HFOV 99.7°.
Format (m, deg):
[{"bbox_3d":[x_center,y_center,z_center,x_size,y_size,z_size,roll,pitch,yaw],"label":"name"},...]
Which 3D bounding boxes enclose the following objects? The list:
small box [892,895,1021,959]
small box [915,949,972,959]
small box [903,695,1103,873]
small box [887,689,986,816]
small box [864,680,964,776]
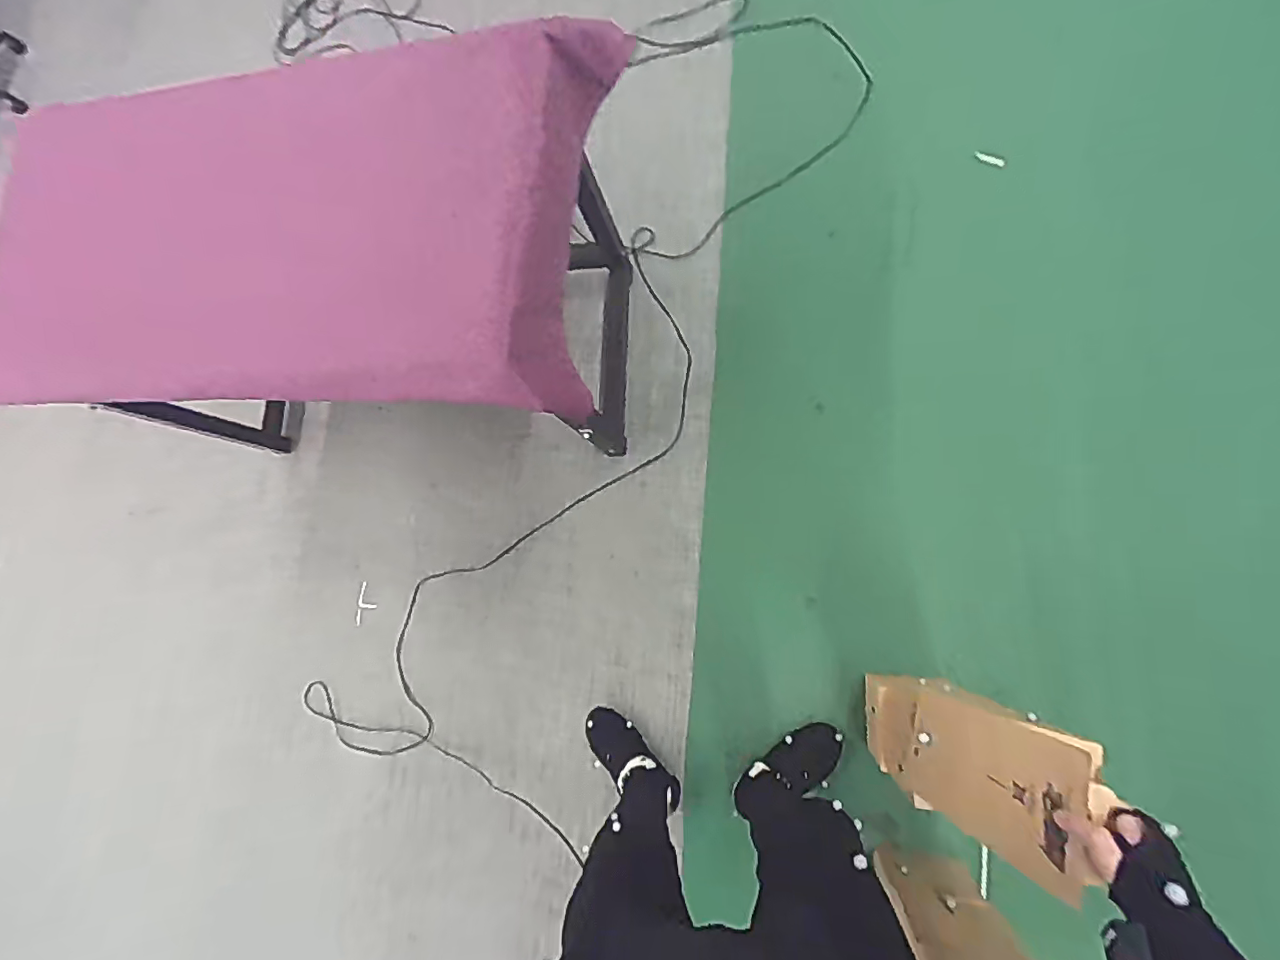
[{"bbox_3d":[0.542,0.863,0.932,0.179,0.176,0.168,4,81,15],"label":"small box"},{"bbox_3d":[0.507,0.830,0.775,0.179,0.176,0.168,5,81,15],"label":"small box"},{"bbox_3d":[0.541,0.446,0.824,0.179,0.176,0.168,17,80,0],"label":"small box"},{"bbox_3d":[0.564,0.501,1.000,0.168,0.176,0.179,1,79,12],"label":"small box"},{"bbox_3d":[0.584,0.530,1.158,0.179,0.176,0.168,1,79,12],"label":"small box"}]
